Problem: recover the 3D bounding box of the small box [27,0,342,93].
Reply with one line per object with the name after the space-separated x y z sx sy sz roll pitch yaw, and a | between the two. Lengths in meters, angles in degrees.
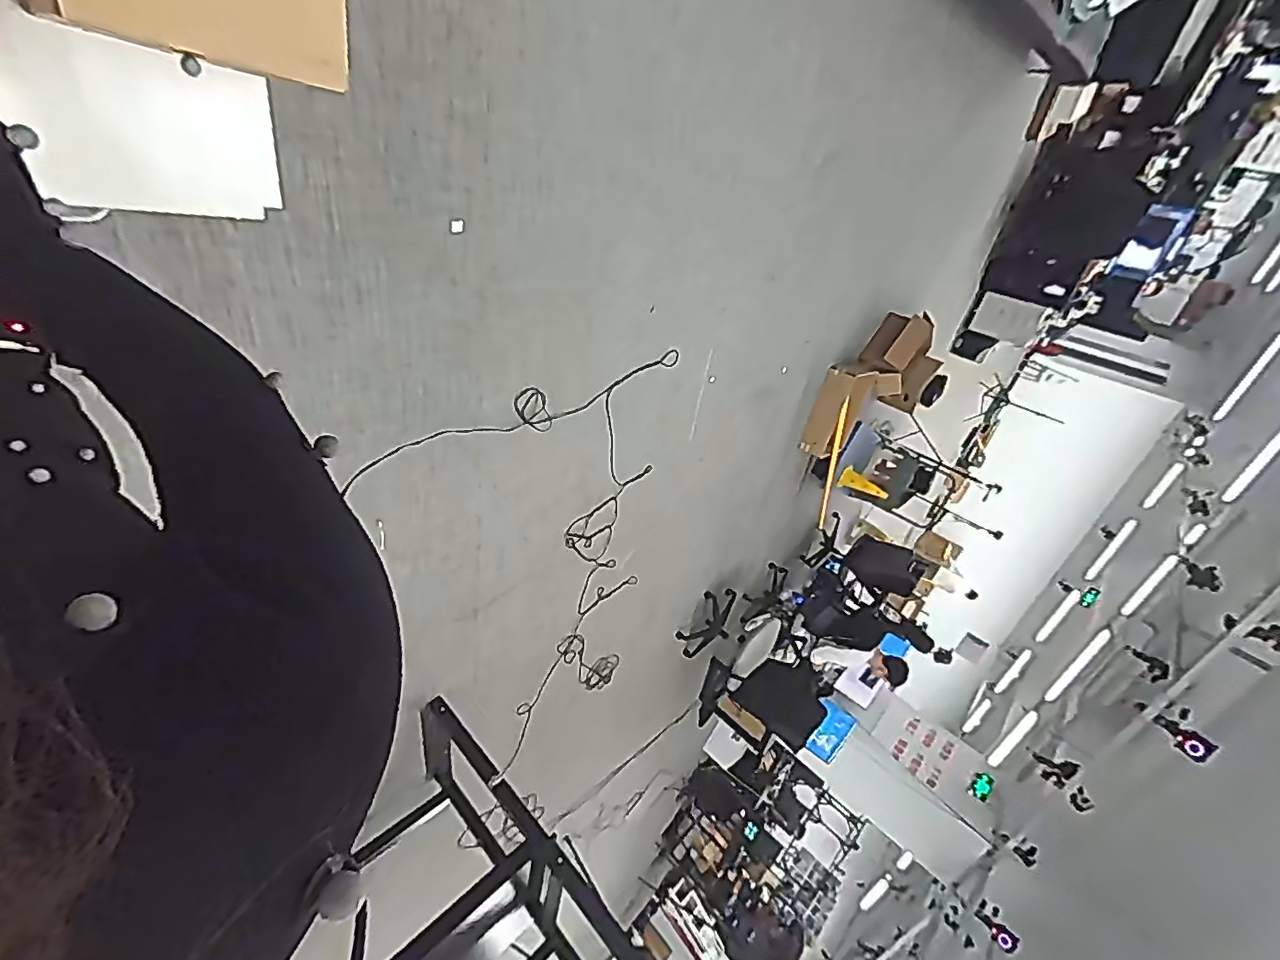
-0.353 -0.417 0.406 0.179 0.176 0.168 -19 132 -46 | small box
